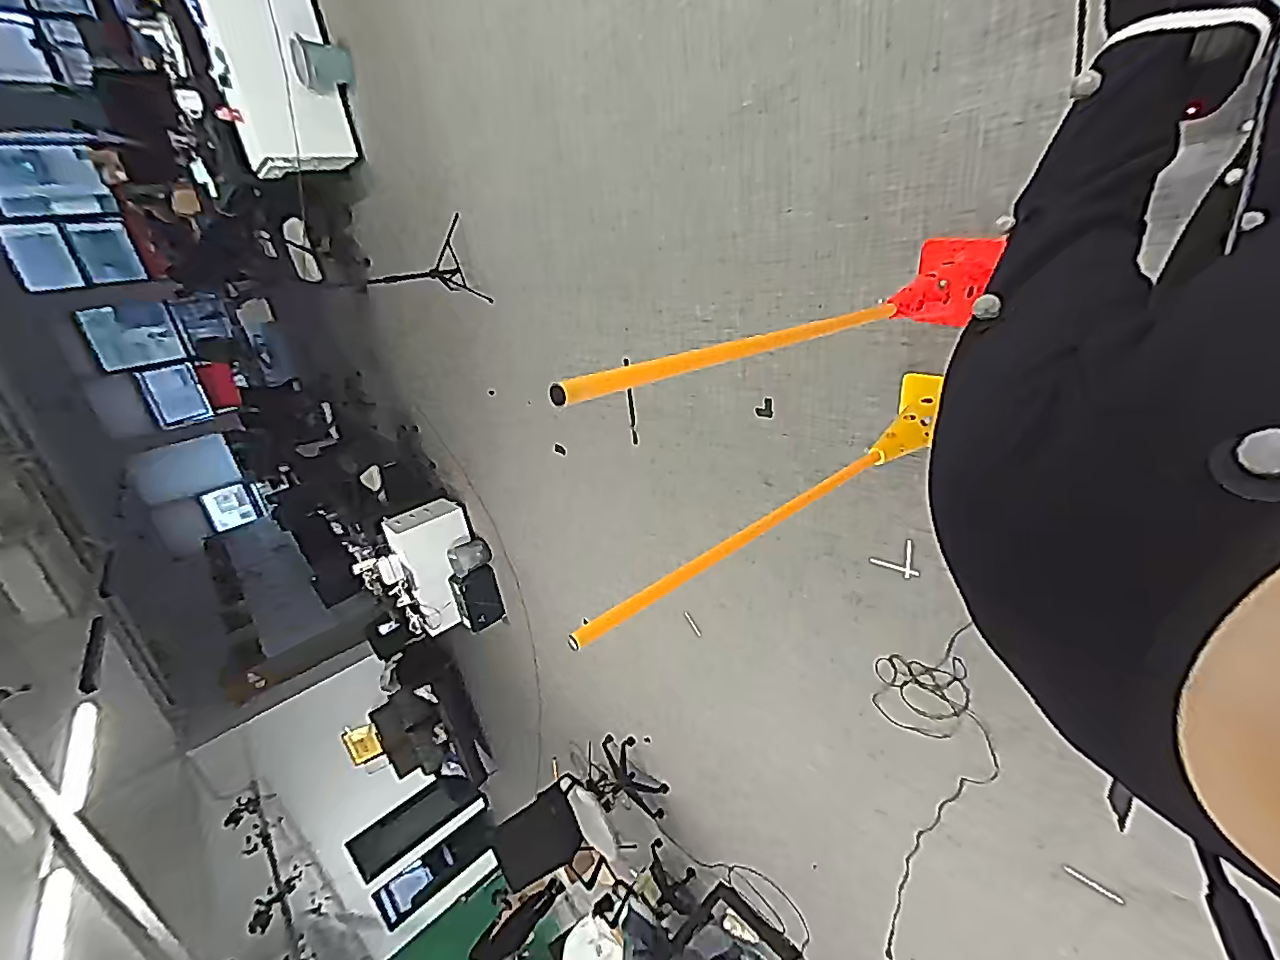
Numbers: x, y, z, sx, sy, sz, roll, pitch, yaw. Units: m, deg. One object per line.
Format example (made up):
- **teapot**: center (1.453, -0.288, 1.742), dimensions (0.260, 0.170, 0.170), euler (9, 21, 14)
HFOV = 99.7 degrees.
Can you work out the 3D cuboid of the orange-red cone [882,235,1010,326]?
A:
- **orange-red cone**: center (0.632, -0.421, 1.196), dimensions (0.198, 0.360, 0.199), euler (25, 128, 40)
